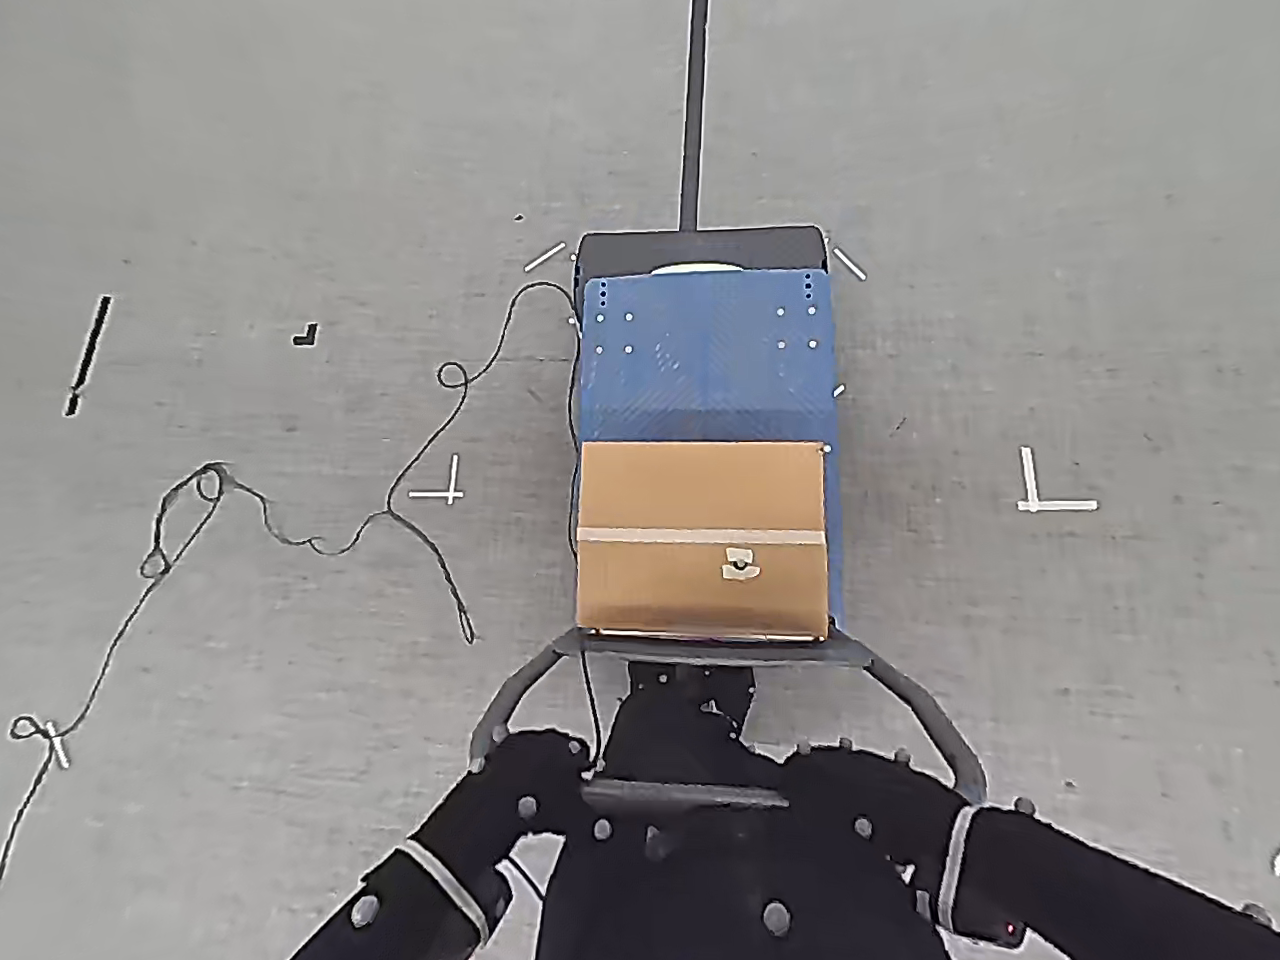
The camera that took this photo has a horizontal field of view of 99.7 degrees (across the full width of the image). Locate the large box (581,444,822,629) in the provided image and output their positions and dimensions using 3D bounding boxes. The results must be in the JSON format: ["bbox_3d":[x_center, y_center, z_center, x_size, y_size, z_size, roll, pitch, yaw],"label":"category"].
[{"bbox_3d":[0.109,0.115,1.058,0.408,0.320,0.320,0,82,5],"label":"large box"}]
